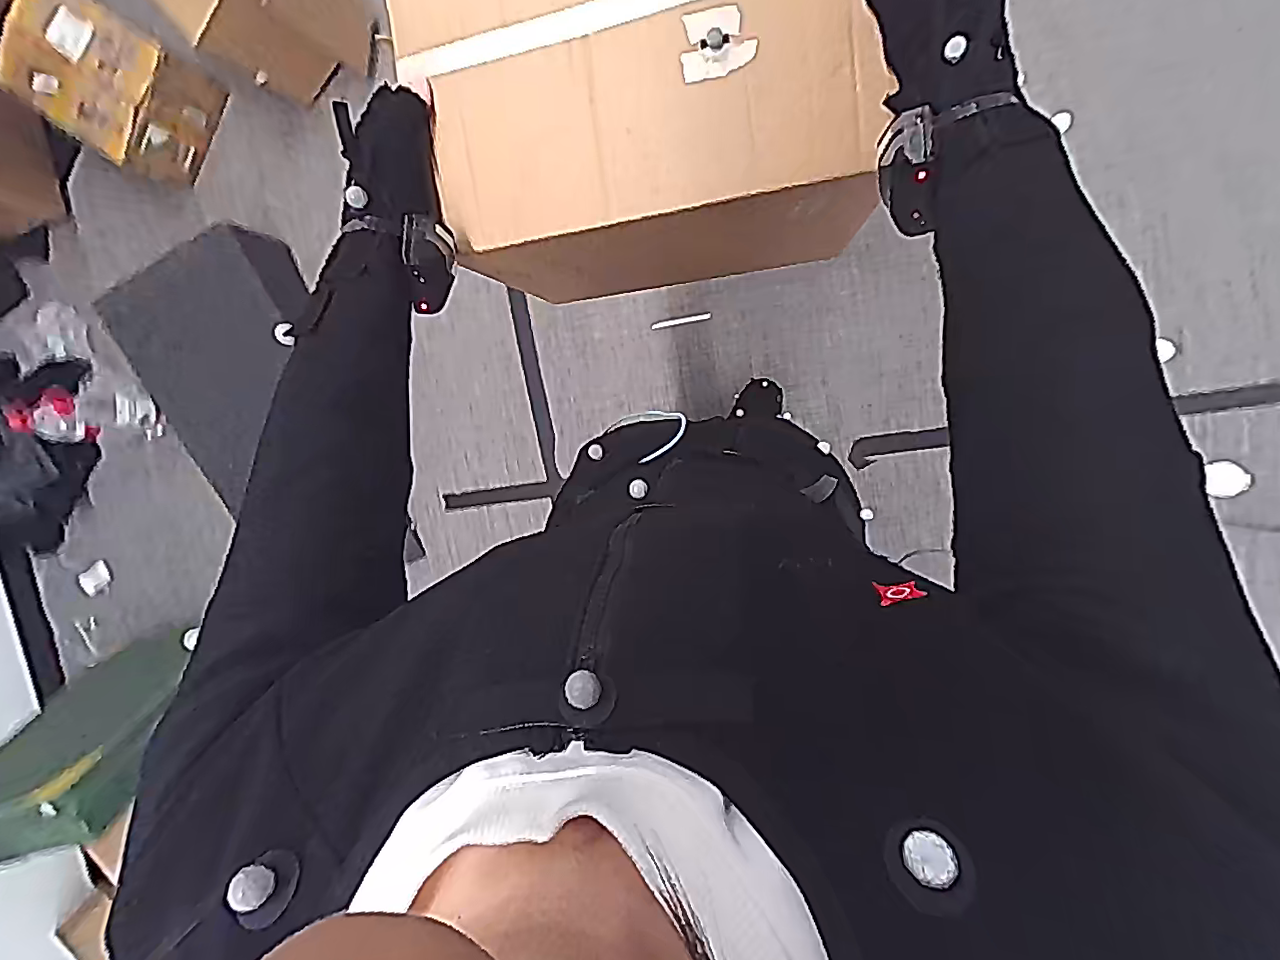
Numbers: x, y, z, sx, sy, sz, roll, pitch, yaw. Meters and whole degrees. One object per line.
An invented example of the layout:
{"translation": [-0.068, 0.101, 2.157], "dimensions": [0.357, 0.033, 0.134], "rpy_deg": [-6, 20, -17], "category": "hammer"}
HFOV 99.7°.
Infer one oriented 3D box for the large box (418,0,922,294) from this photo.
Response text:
{"translation": [0.031, -0.413, 0.581], "dimensions": [0.408, 0.320, 0.320], "rpy_deg": [-6, 100, 11], "category": "large box"}
